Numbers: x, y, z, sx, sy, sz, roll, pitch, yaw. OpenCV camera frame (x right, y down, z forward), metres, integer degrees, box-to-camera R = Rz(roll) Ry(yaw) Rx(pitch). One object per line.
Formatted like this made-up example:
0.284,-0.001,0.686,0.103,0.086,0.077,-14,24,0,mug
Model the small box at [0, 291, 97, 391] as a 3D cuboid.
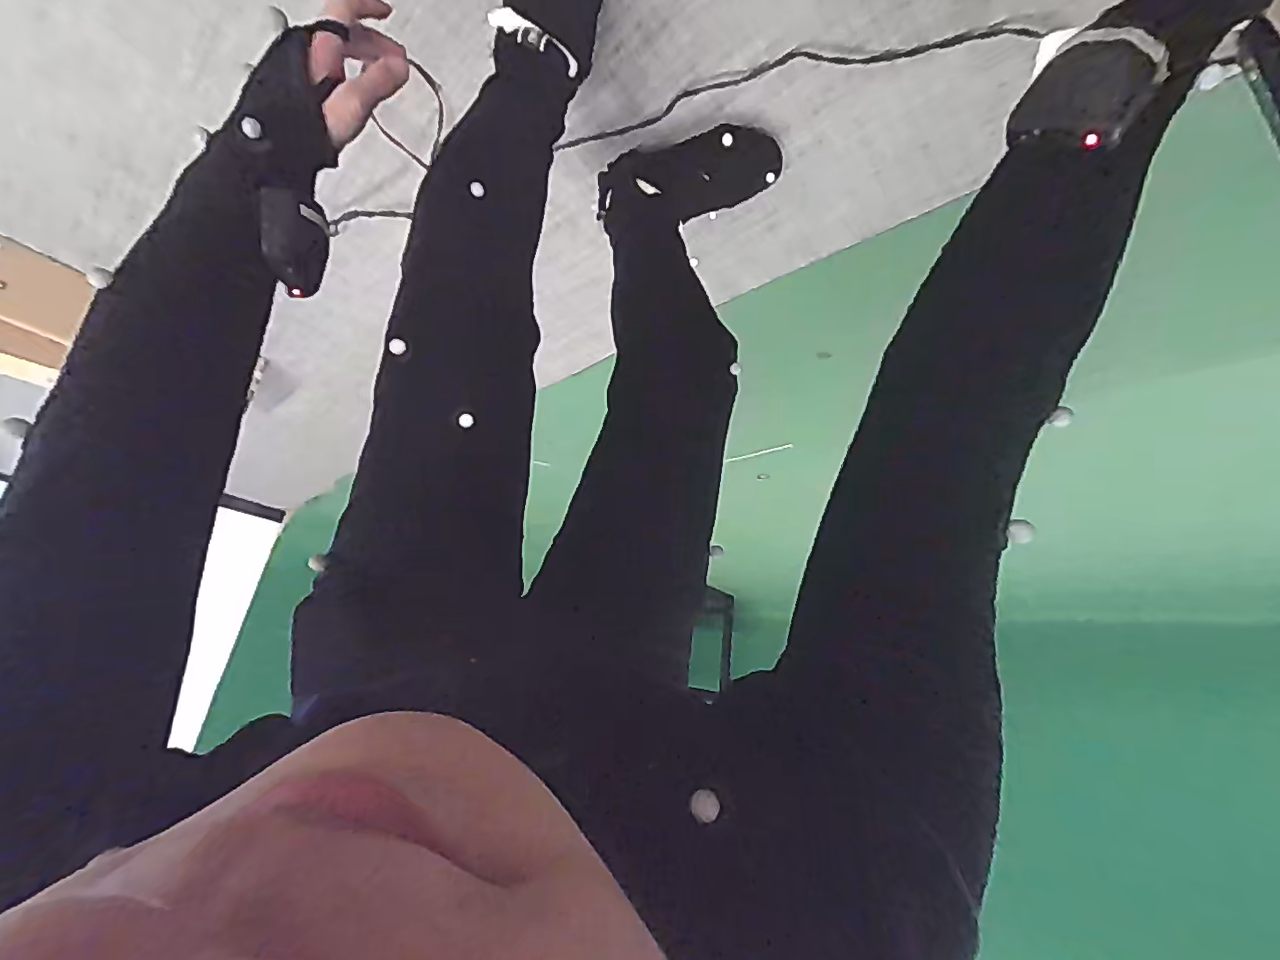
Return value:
-1.575,-0.364,1.410,0.179,0.176,0.168,26,151,-38,small box
